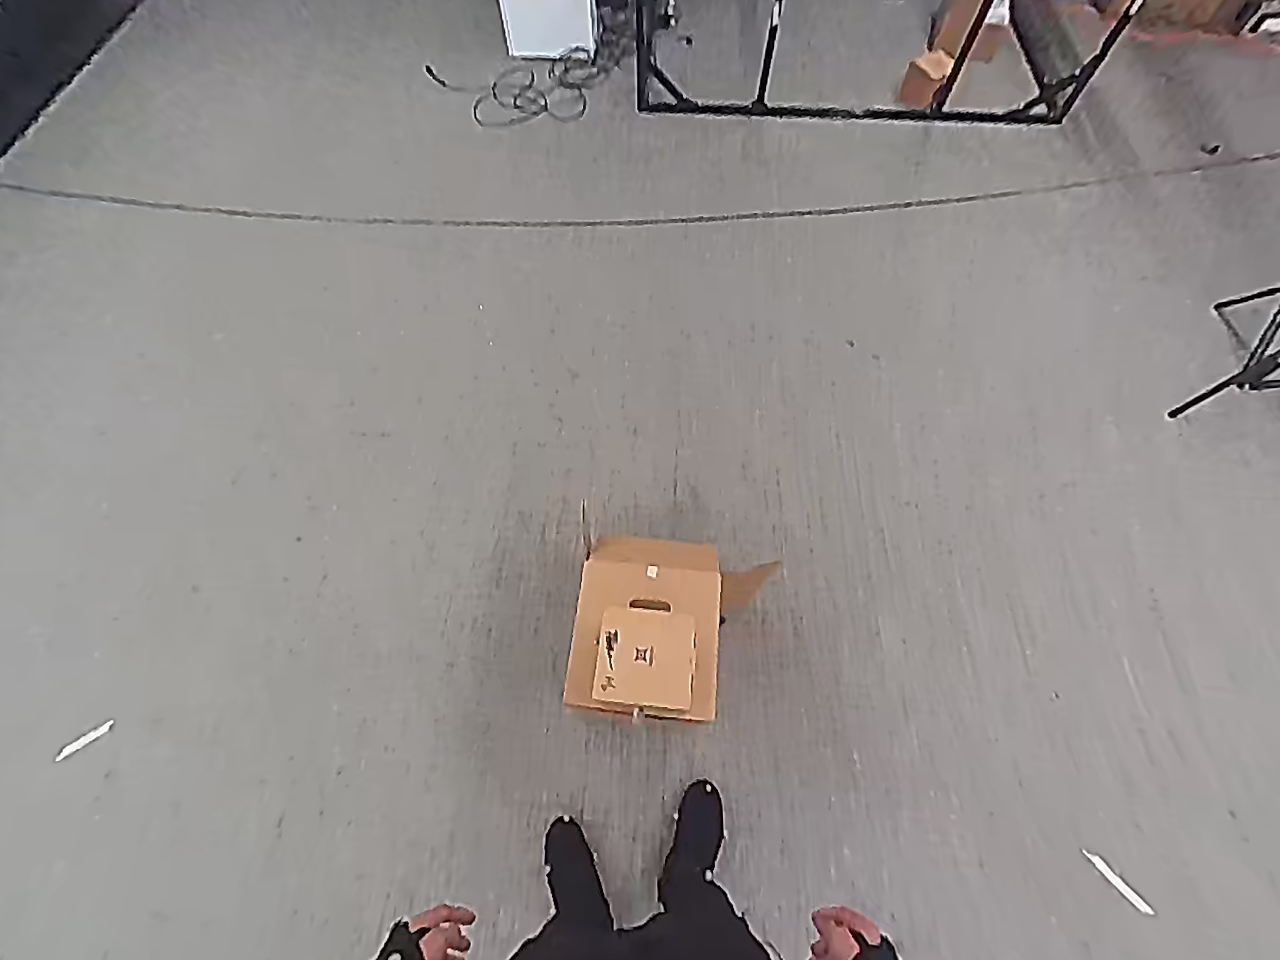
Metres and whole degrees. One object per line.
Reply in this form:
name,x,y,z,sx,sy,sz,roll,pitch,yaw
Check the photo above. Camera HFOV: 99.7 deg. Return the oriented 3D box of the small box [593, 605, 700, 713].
small box,0.013,0.347,1.035,0.179,0.176,0.168,6,65,3
